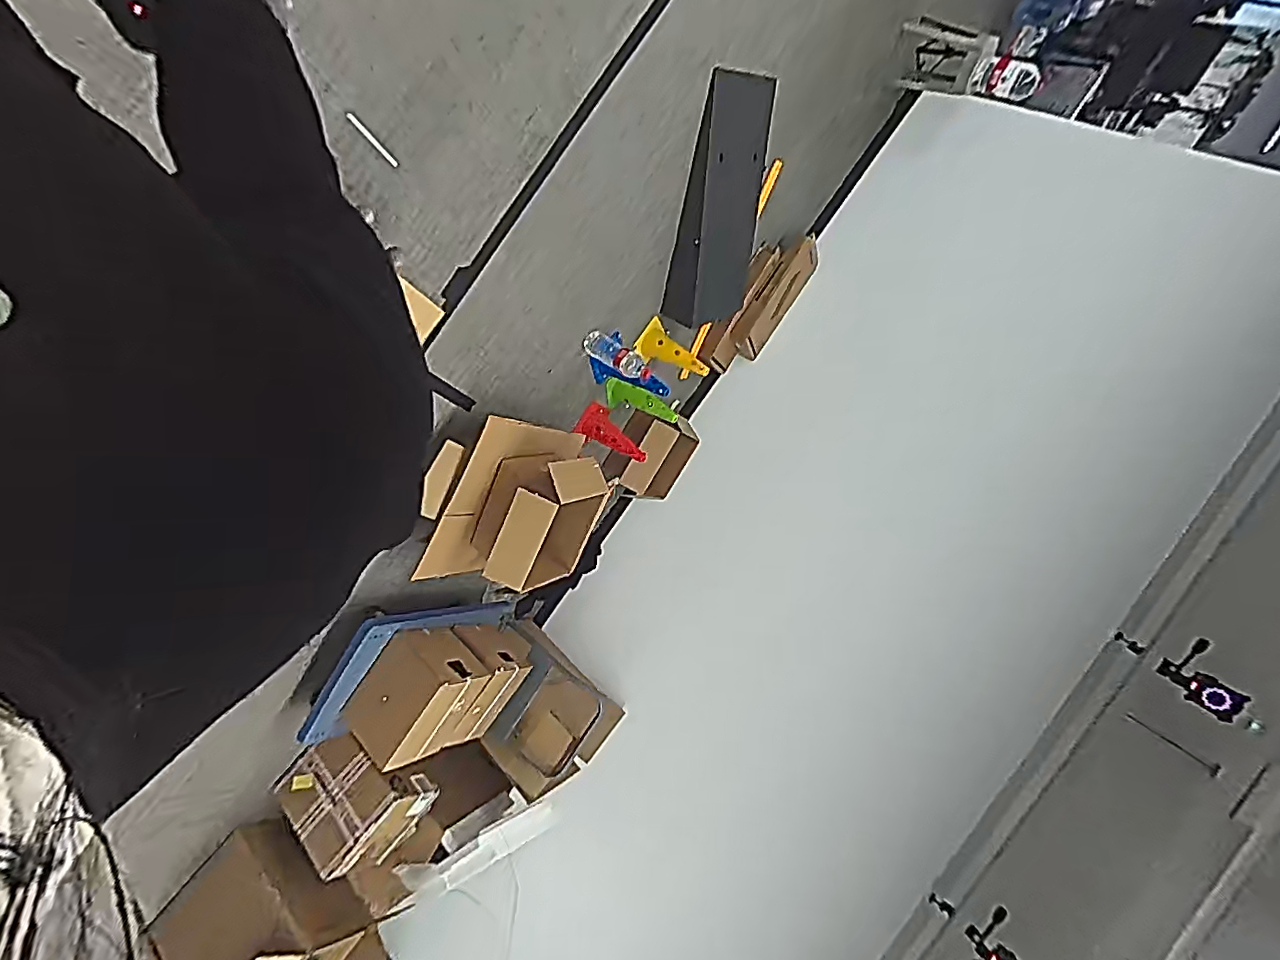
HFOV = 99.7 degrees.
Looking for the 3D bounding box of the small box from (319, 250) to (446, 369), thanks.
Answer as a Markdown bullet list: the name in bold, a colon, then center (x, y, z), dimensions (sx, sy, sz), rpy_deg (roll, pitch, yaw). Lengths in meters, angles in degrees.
- **small box**: center (-0.604, -0.400, 1.266), dimensions (0.179, 0.176, 0.168), rpy_deg (-53, 156, 0)
